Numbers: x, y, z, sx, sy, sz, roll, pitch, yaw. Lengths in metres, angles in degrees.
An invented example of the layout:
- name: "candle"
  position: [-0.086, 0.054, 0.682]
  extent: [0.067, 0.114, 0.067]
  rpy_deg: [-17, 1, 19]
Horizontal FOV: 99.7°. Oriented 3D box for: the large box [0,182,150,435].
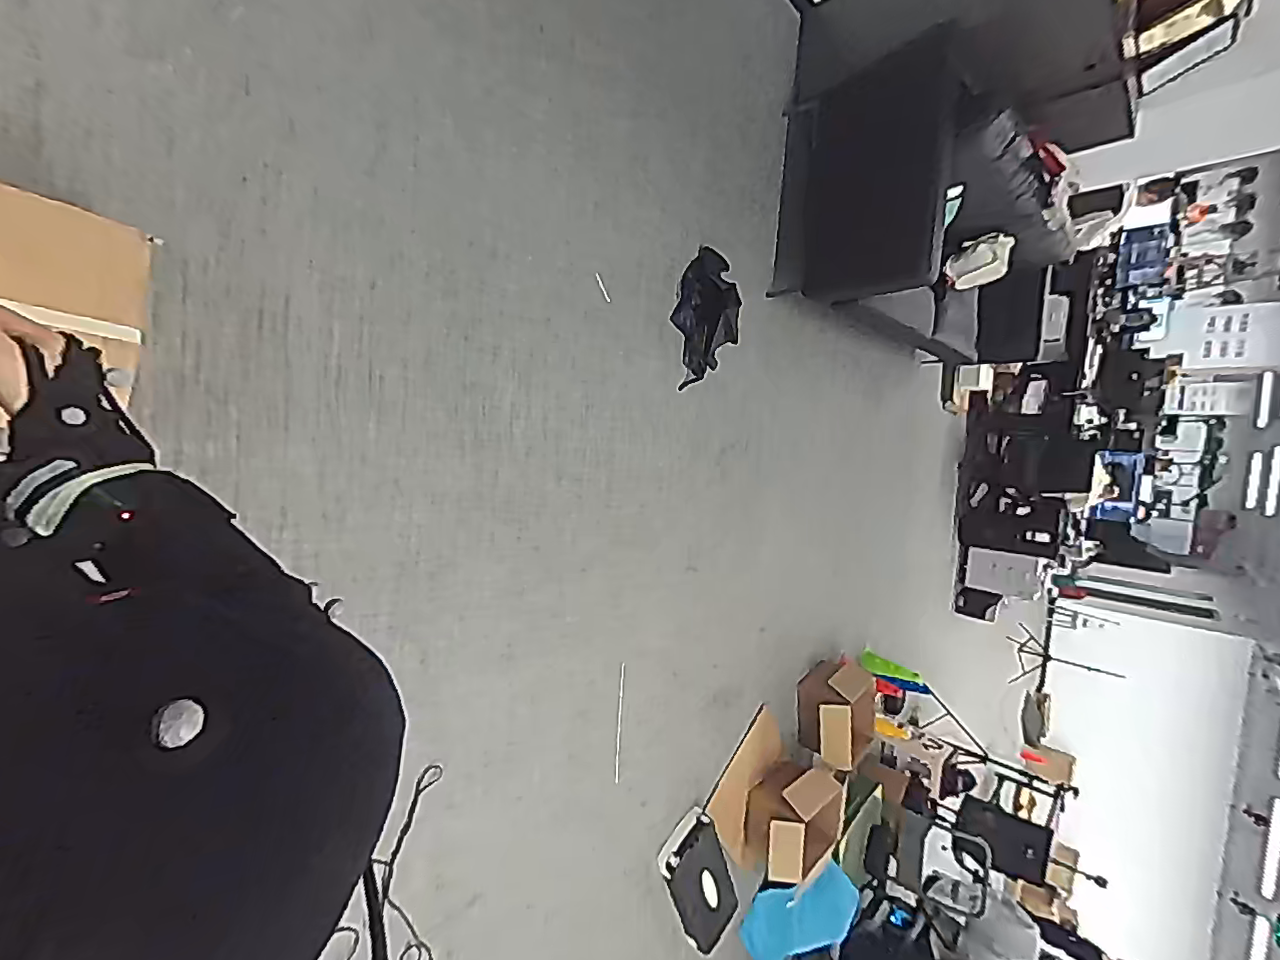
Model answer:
- name: "large box"
  position: [-0.981, -0.246, 0.746]
  extent: [0.408, 0.320, 0.320]
  rpy_deg: [9, 90, -48]
